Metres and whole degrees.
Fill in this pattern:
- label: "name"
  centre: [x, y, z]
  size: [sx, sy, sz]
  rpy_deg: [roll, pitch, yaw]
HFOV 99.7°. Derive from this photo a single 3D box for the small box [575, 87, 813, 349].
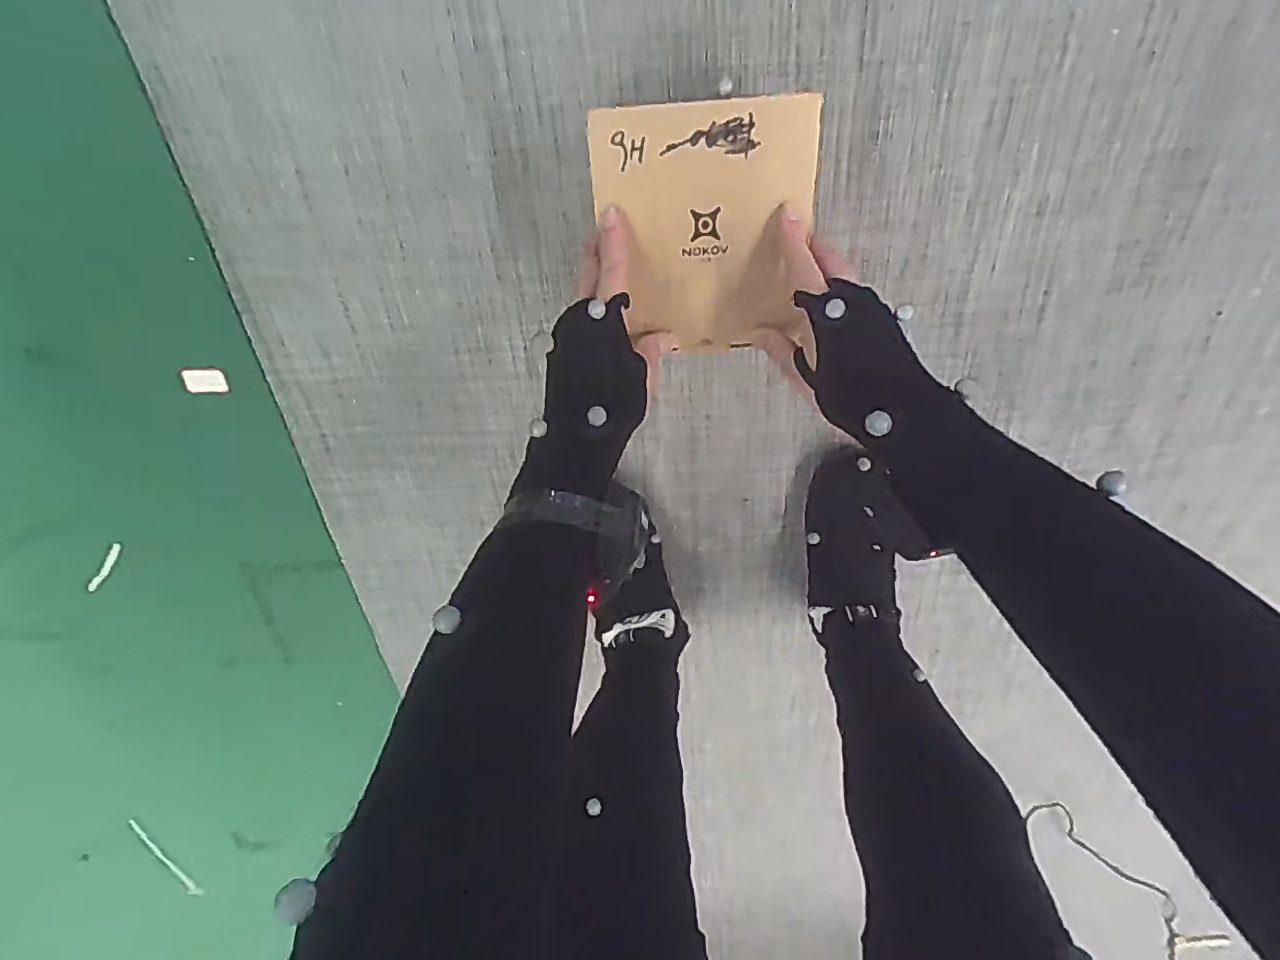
- label: "small box"
  centre: [0.041, -0.228, 0.479]
  size: [0.168, 0.176, 0.179]
  rpy_deg: [-3, 119, 2]
